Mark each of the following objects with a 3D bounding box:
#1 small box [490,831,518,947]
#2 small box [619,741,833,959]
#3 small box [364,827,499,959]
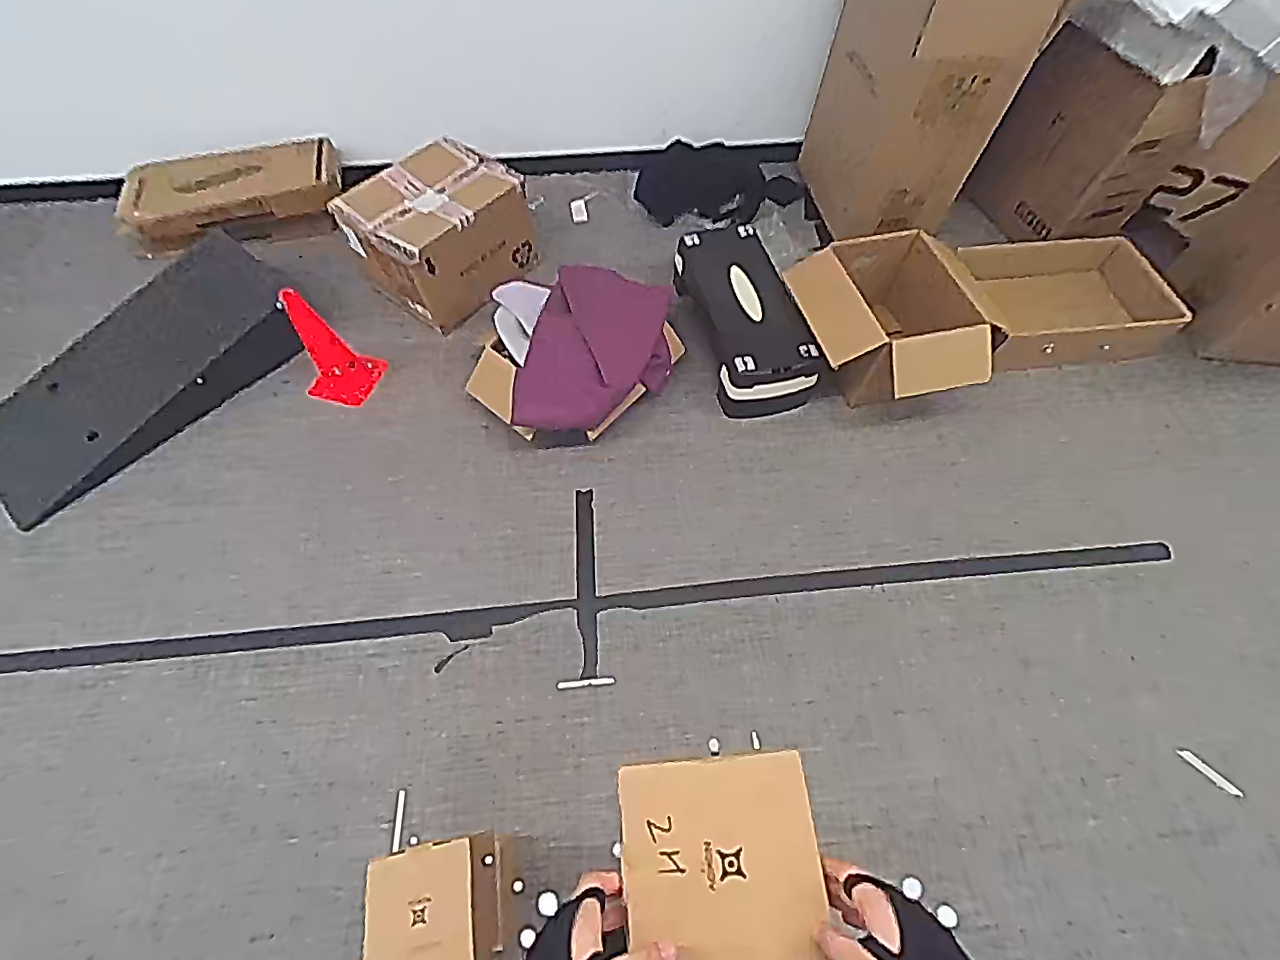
[{"bbox_3d":[-0.341,0.792,1.046,0.179,0.176,0.168,-7,61,-4],"label":"small box"},{"bbox_3d":[0.073,0.367,0.555,0.179,0.176,0.168,-5,65,0],"label":"small box"},{"bbox_3d":[-0.342,0.703,0.910,0.168,0.176,0.179,-11,63,-5],"label":"small box"}]
